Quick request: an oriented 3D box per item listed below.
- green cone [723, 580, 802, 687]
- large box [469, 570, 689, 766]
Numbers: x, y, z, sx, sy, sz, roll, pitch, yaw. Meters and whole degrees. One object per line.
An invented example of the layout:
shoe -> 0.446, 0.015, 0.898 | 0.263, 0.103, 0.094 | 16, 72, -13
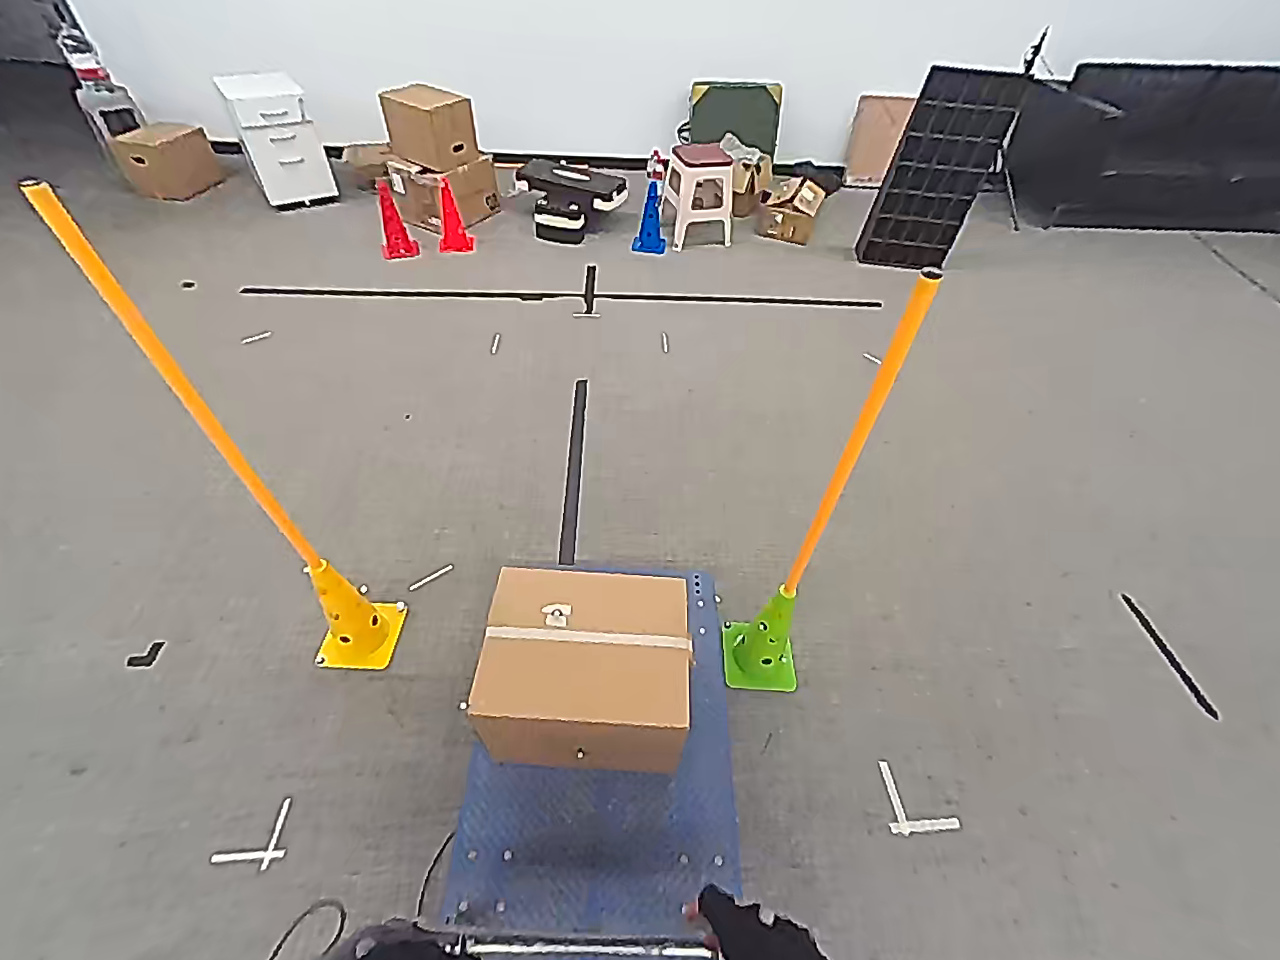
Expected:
green cone -> 0.355, 0.382, 1.440 | 0.202, 0.368, 0.200 | 5, 48, -1
large box -> -0.109, 0.416, 1.184 | 0.408, 0.320, 0.320 | 4, 48, 0
